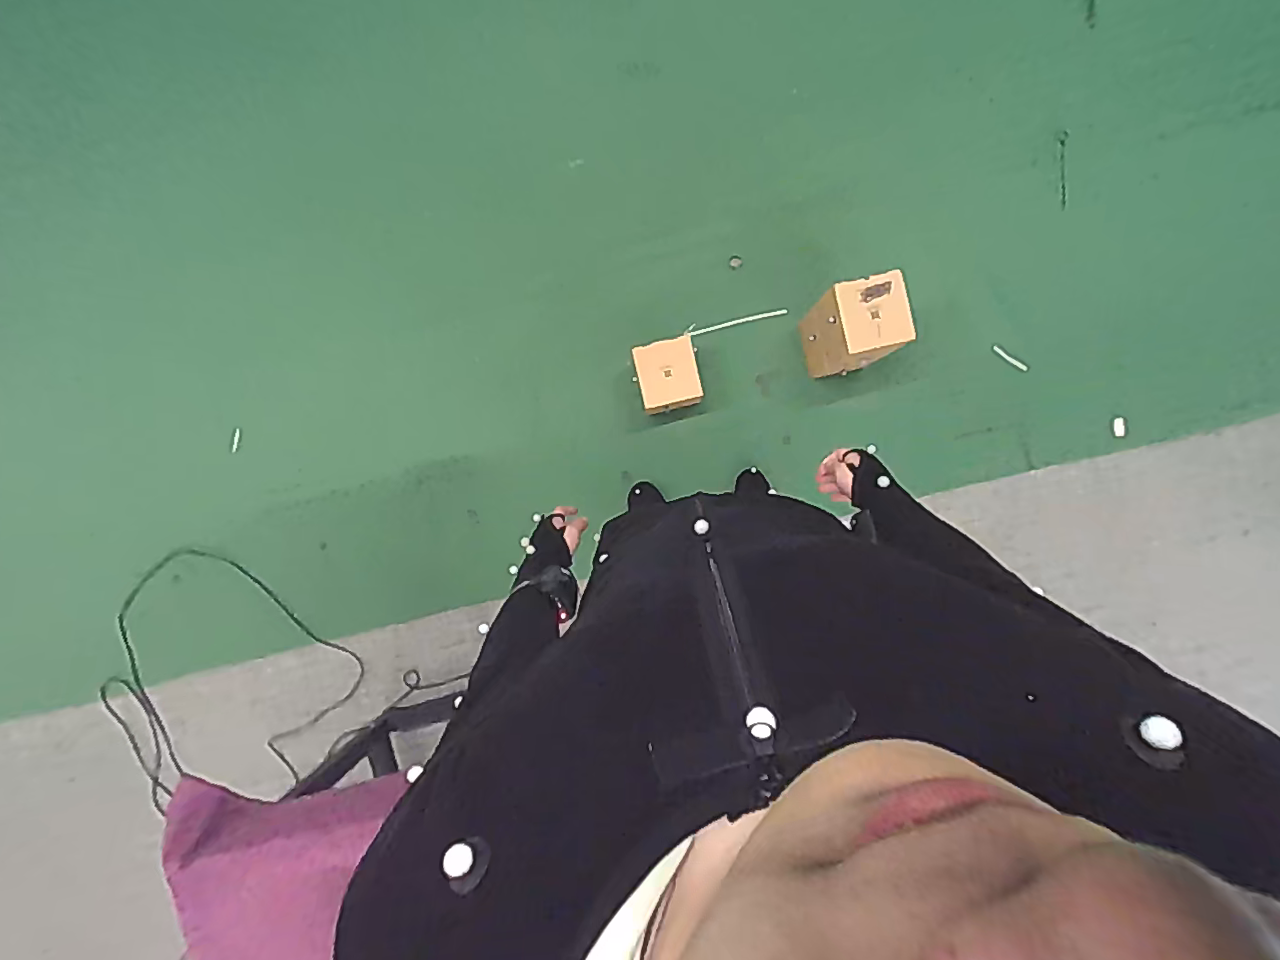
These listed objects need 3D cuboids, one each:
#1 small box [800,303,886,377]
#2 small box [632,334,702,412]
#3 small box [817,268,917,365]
[{"bbox_3d":[0.569,-0.407,1.536,0.168,0.176,0.179,-12,90,2],"label":"small box"},{"bbox_3d":[0.079,-0.299,1.557,0.168,0.176,0.179,-13,89,2],"label":"small box"},{"bbox_3d":[0.566,-0.407,1.372,0.168,0.176,0.179,-13,90,2],"label":"small box"}]
